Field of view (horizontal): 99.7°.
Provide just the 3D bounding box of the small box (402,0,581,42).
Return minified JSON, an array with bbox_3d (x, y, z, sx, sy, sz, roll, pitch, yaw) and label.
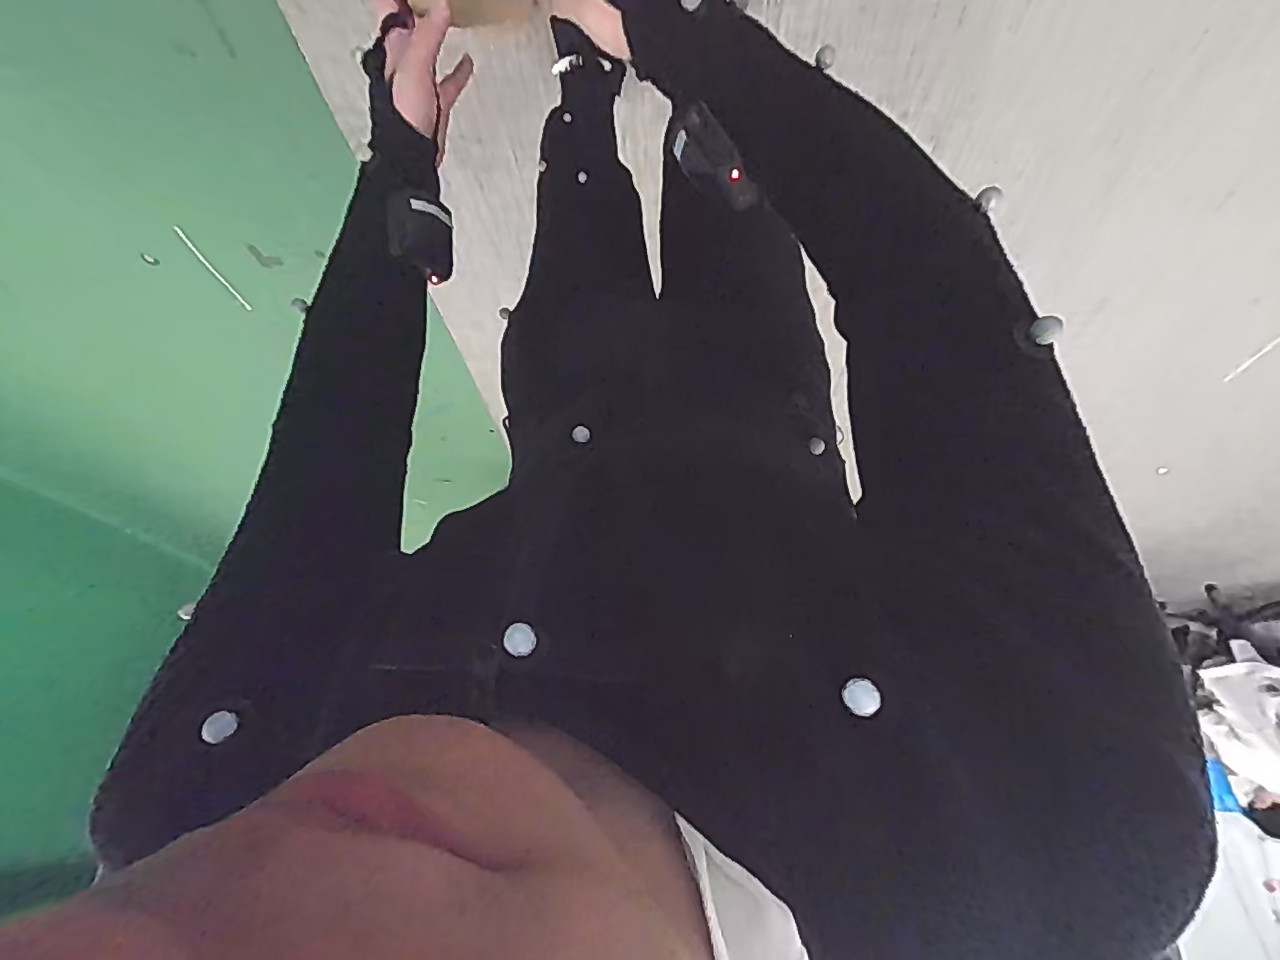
[{"bbox_3d":[-0.131,-0.518,0.459,0.168,0.176,0.179,-11,119,23],"label":"small box"}]
